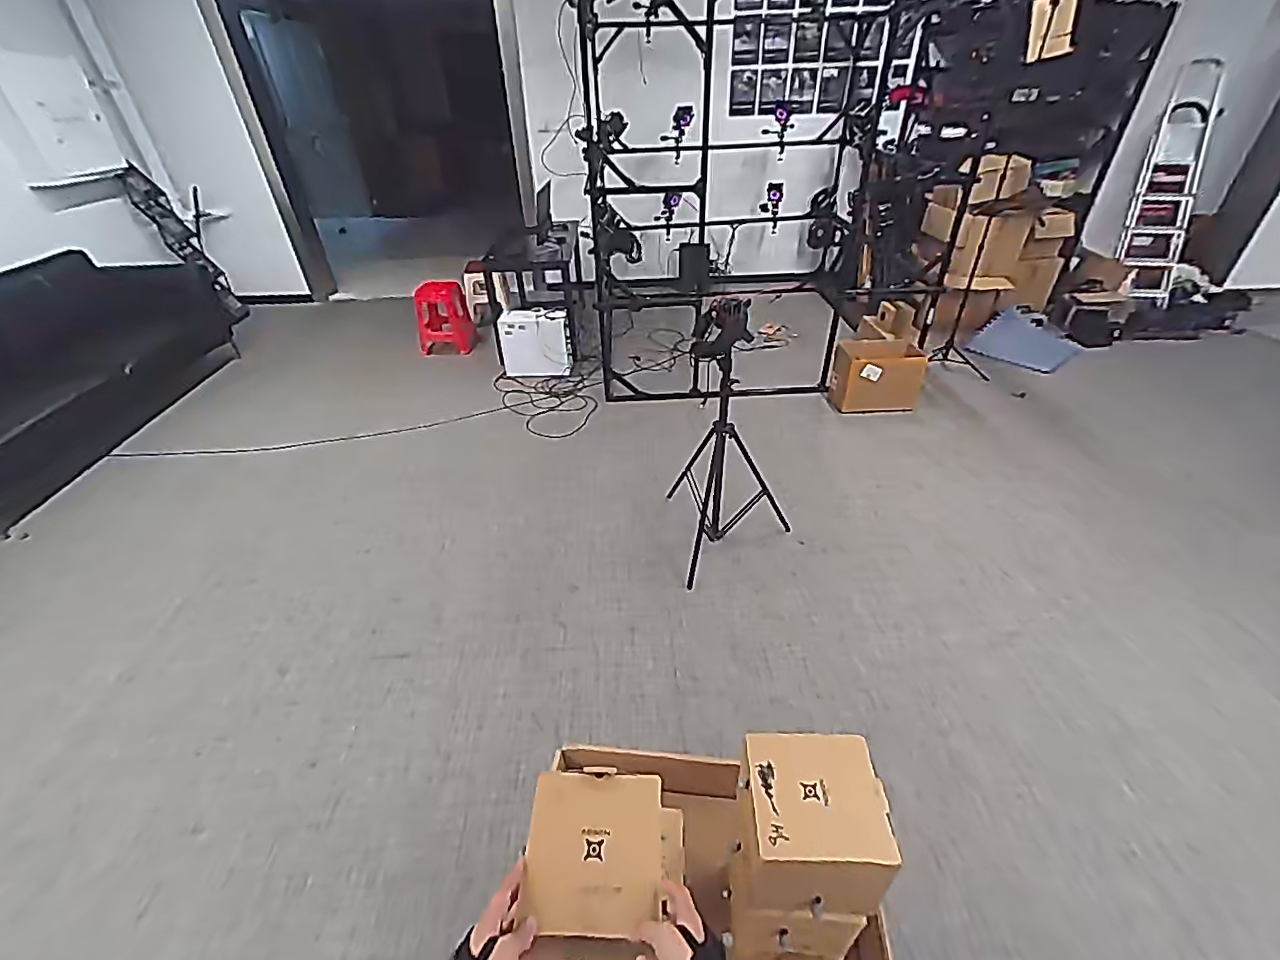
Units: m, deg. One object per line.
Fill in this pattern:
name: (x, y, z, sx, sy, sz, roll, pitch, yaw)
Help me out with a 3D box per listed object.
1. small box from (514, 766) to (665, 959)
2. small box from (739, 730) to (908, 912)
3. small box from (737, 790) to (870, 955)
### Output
small box: (-0.058, 0.497, 0.690, 0.168, 0.176, 0.179, 3, 36, -1)
small box: (0.241, 0.477, 0.760, 0.179, 0.176, 0.168, 1, 35, 3)
small box: (0.244, 0.612, 0.852, 0.168, 0.176, 0.179, 1, 35, 5)
